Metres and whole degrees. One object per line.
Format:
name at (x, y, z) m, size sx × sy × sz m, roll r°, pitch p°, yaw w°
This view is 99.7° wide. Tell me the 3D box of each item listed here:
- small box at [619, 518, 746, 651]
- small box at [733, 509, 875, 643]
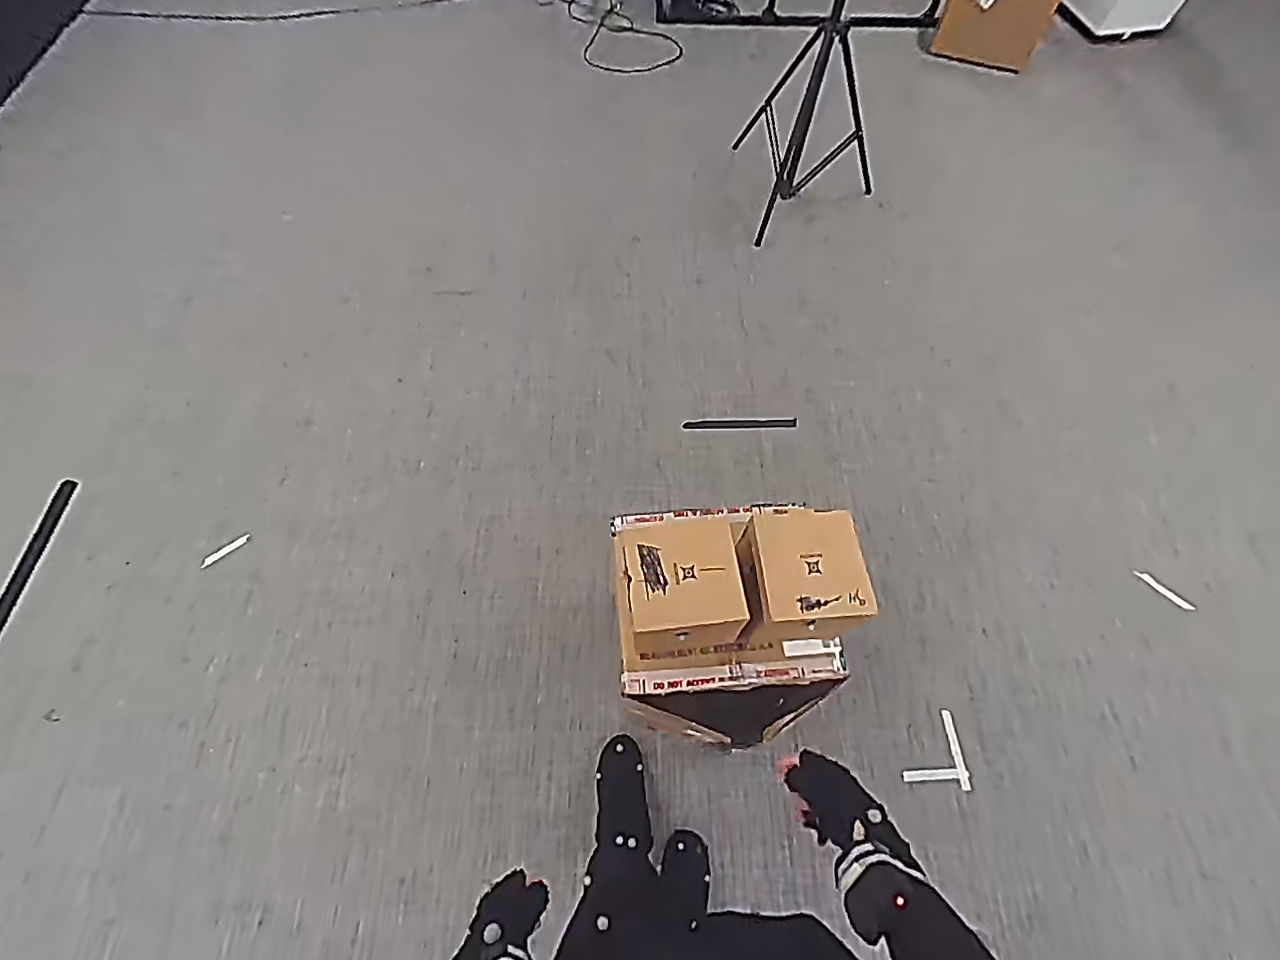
small box at (0.063, 0.178, 0.896) m, size 0.179 × 0.176 × 0.168 m, roll -6°, pitch 62°, yaw -3°
small box at (0.260, 0.164, 0.909) m, size 0.168 × 0.176 × 0.179 m, roll -2°, pitch 62°, yaw -4°
